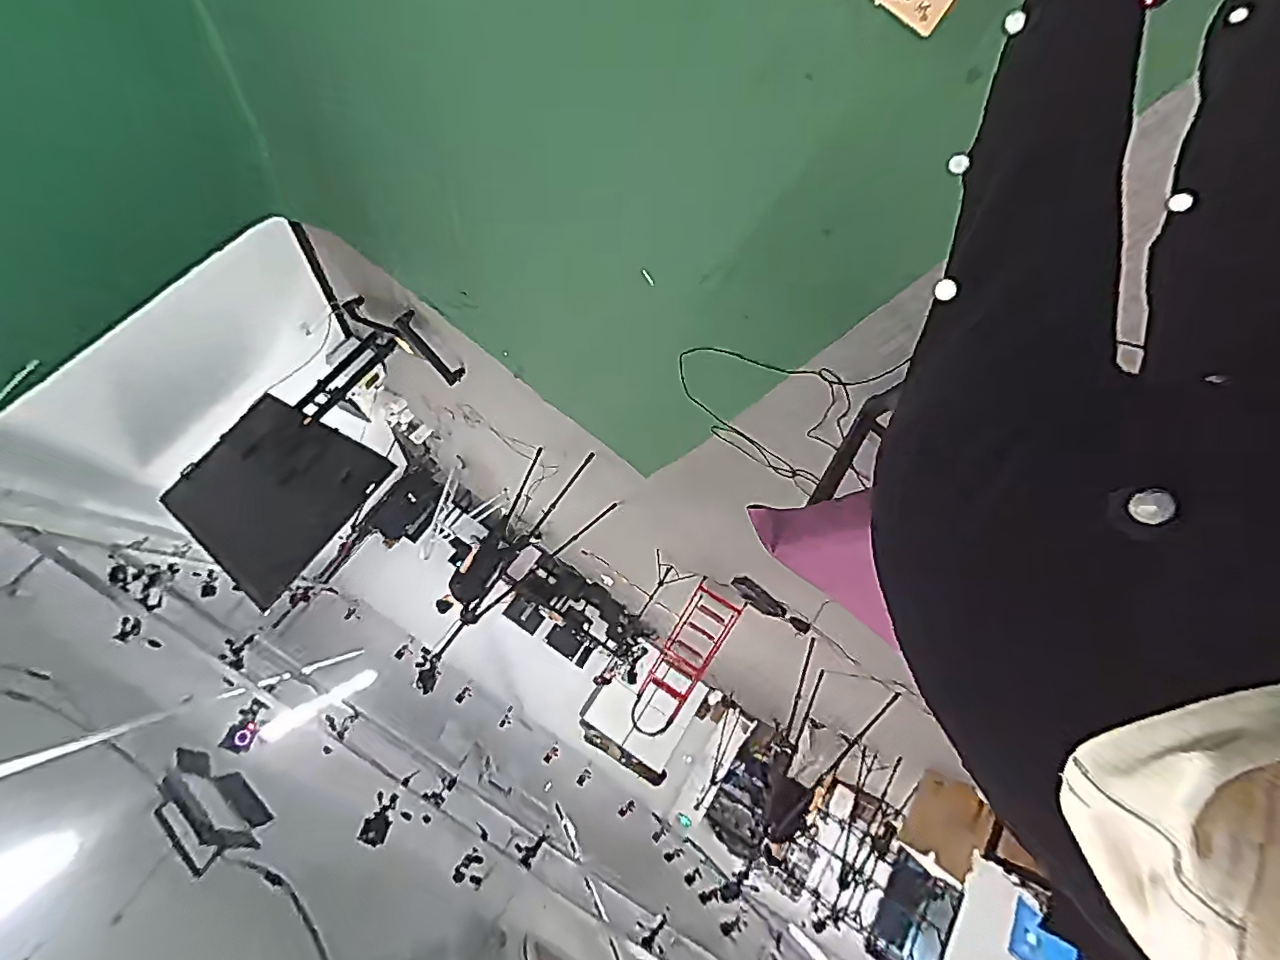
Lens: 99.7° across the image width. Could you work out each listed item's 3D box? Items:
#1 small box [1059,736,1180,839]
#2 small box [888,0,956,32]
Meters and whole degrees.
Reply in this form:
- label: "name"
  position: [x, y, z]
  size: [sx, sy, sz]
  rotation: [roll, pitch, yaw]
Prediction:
- label: "small box"
  position: [1.328, 0.839, 1.497]
  size: [0.168, 0.176, 0.179]
  rotation: [35, 160, 1]
- label: "small box"
  position: [0.457, -0.836, 0.797]
  size: [0.168, 0.176, 0.179]
  rotation: [37, 160, -1]
